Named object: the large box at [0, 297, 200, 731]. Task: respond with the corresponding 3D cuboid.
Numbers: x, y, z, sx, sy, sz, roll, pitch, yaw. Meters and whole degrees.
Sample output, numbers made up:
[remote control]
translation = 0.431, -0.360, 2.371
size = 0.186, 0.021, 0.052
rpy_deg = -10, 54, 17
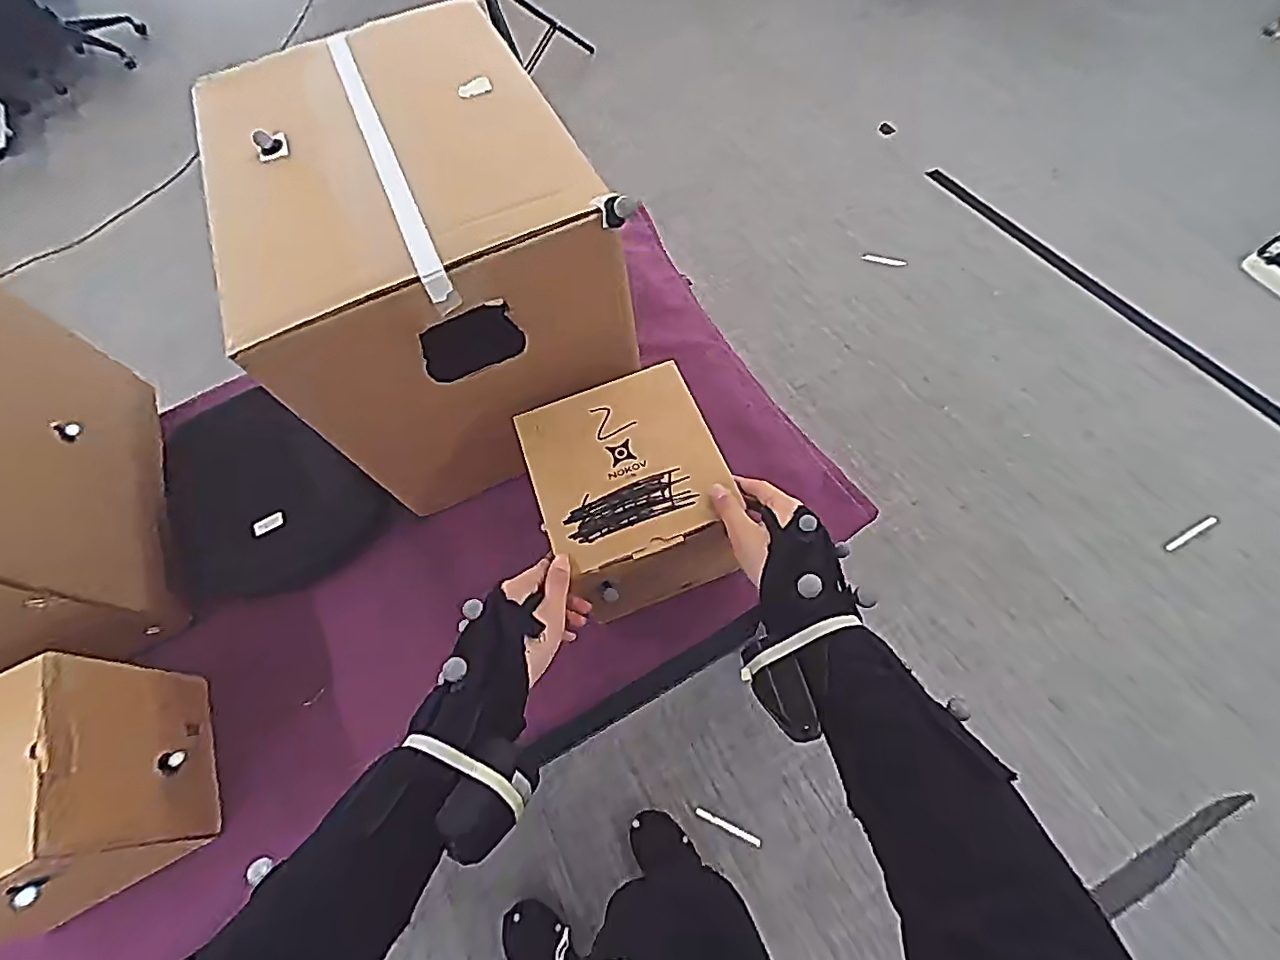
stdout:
[large box]
translation = -0.755, 0.027, 0.559
size = 0.320, 0.320, 0.408
rpy_deg = -30, 66, -9
